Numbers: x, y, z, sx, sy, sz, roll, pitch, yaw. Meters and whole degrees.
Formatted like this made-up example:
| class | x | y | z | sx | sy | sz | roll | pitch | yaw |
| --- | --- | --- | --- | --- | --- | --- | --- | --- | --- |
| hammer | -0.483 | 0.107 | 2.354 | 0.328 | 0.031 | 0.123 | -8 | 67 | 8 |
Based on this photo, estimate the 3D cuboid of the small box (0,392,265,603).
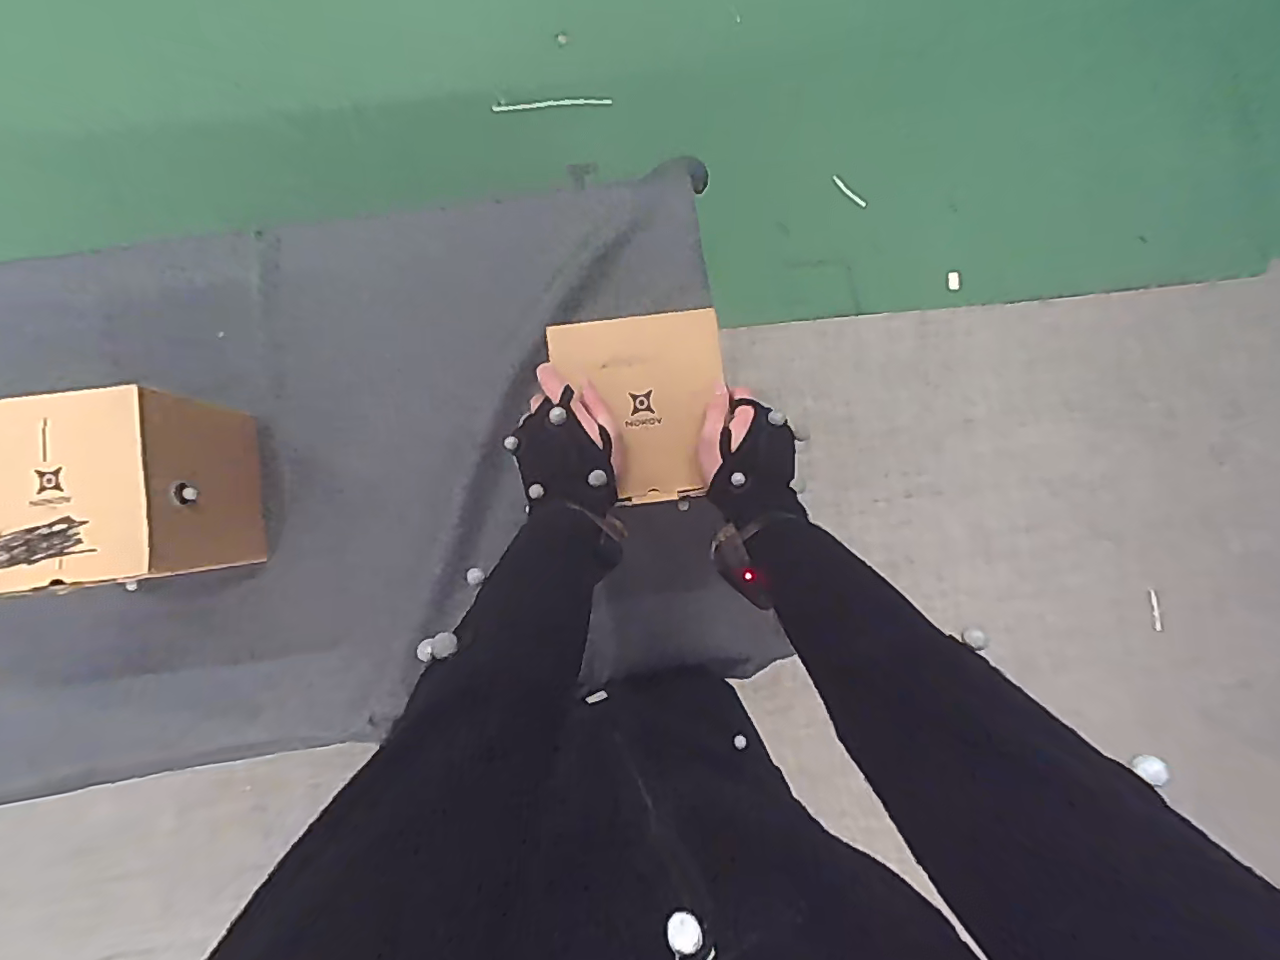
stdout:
| class | x | y | z | sx | sy | sz | roll | pitch | yaw |
| --- | --- | --- | --- | --- | --- | --- | --- | --- | --- |
| small box | -0.523 | 0.019 | 0.557 | 0.168 | 0.176 | 0.179 | -7 | 86 | -3 |

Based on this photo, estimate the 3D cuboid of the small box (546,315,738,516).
| class | x | y | z | sx | sy | sz | roll | pitch | yaw |
| --- | --- | --- | --- | --- | --- | --- | --- | --- | --- |
| small box | -0.002 | -0.058 | 0.588 | 0.168 | 0.176 | 0.179 | -8 | 86 | -4 |
